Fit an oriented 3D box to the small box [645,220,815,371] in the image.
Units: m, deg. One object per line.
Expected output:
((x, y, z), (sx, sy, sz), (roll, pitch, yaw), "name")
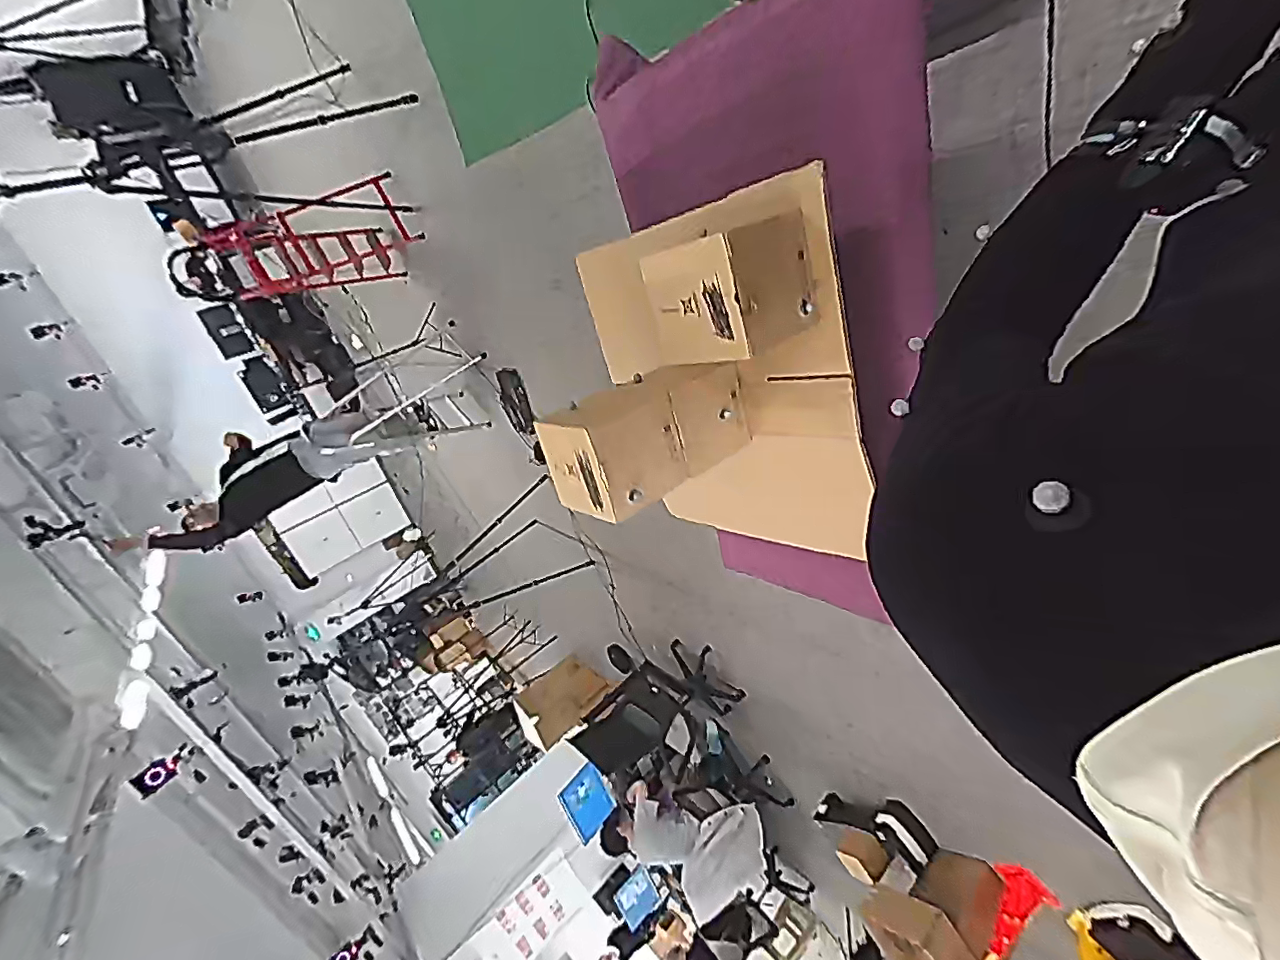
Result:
((0.141, -0.270, 0.803), (0.179, 0.176, 0.168), (11, 125, 51), "small box")

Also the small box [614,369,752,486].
((0.083, -0.107, 1.015), (0.179, 0.176, 0.168), (11, 124, 50), "small box")
